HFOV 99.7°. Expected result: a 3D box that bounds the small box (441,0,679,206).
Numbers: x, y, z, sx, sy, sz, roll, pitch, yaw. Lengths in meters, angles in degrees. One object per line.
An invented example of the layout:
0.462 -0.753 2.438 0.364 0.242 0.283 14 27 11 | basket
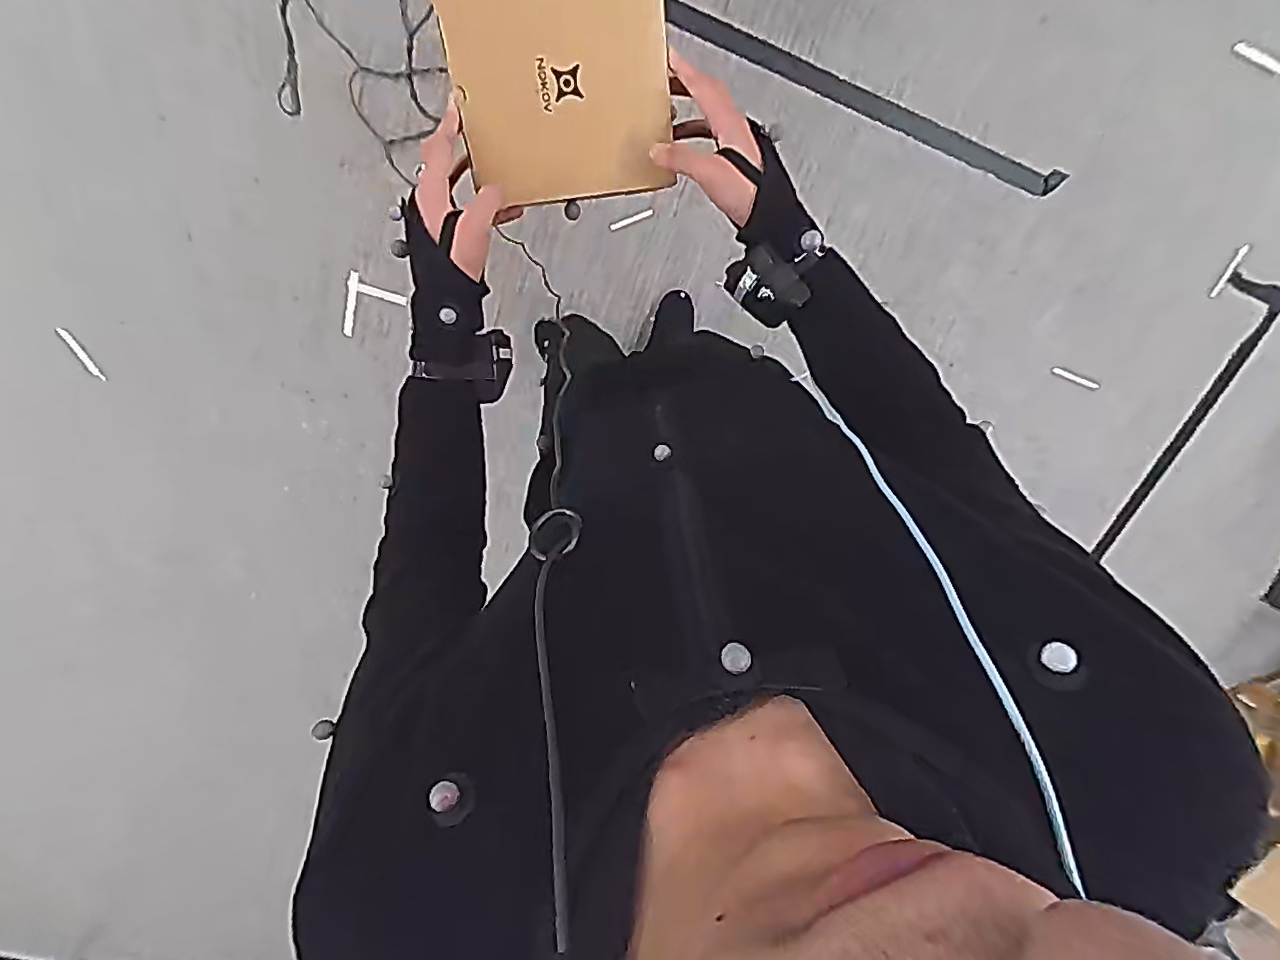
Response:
-0.066 -0.359 0.505 0.179 0.176 0.168 -7 118 -1 | small box
